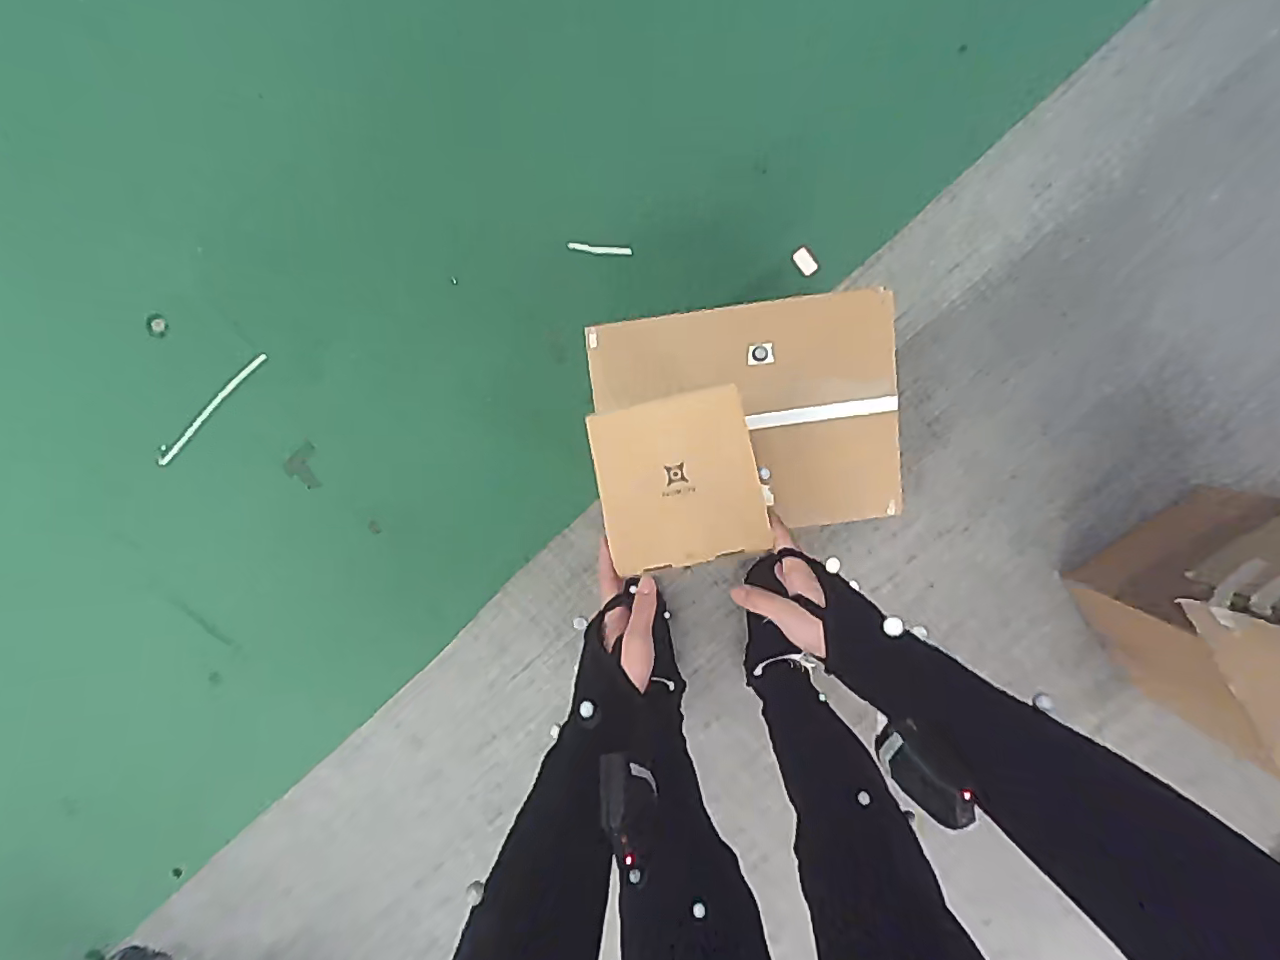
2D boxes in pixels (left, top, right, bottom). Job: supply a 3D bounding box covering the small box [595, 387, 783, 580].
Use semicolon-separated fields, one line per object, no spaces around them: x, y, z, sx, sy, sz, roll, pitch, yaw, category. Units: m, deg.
0.055;0.015;0.626;0.168;0.176;0.179;-12;80;6;small box
